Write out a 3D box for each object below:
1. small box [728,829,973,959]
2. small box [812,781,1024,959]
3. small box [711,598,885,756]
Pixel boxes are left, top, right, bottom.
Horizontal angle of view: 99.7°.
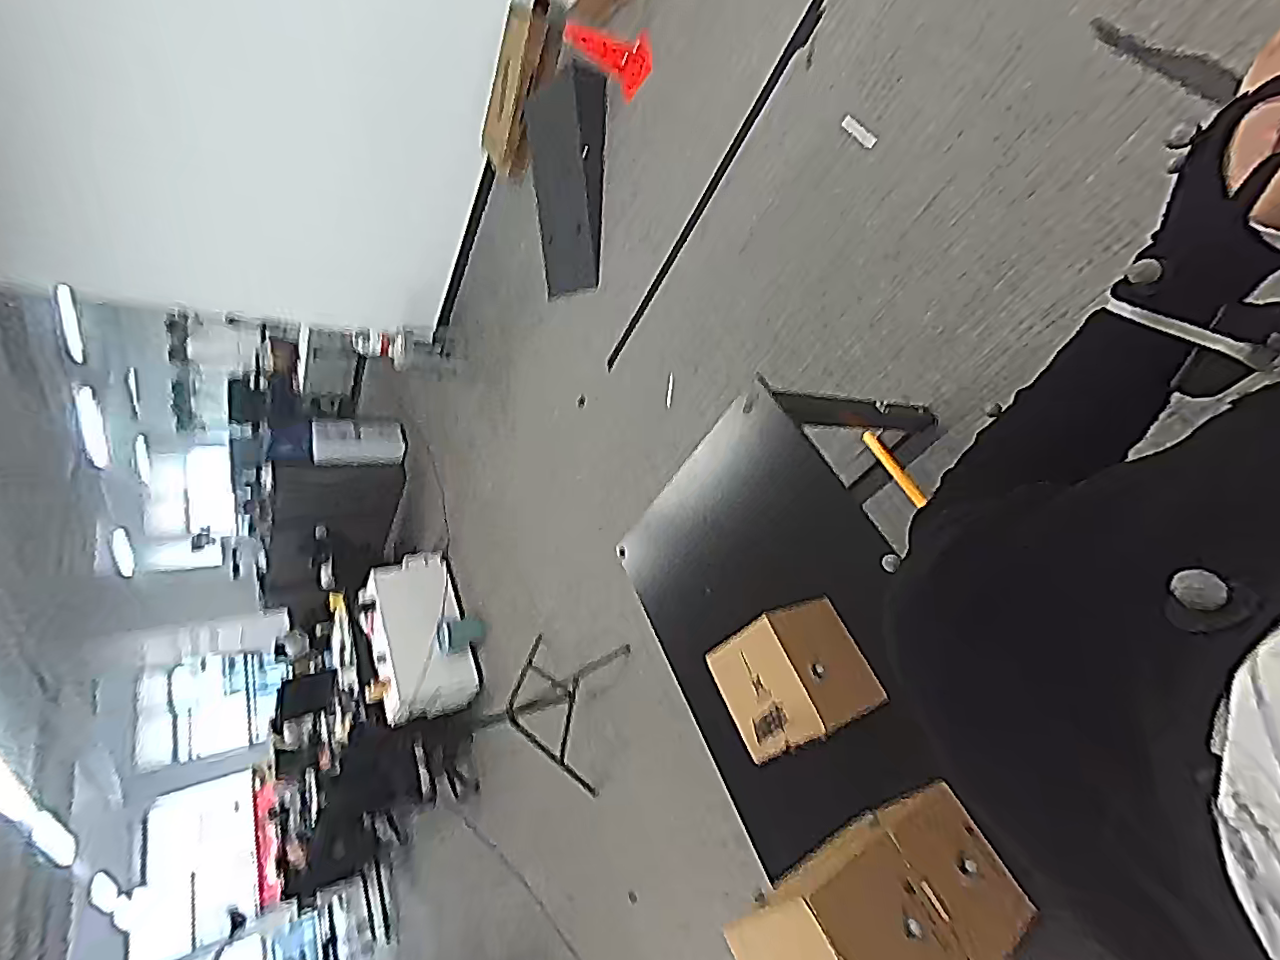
[{"bbox_3d":[0.244,0.552,0.635,0.168,0.176,0.179,58,133,32],"label":"small box"},{"bbox_3d":[0.377,0.544,0.734,0.168,0.176,0.179,59,133,32],"label":"small box"},{"bbox_3d":[0.255,0.313,0.879,0.168,0.176,0.179,-52,52,40],"label":"small box"}]
